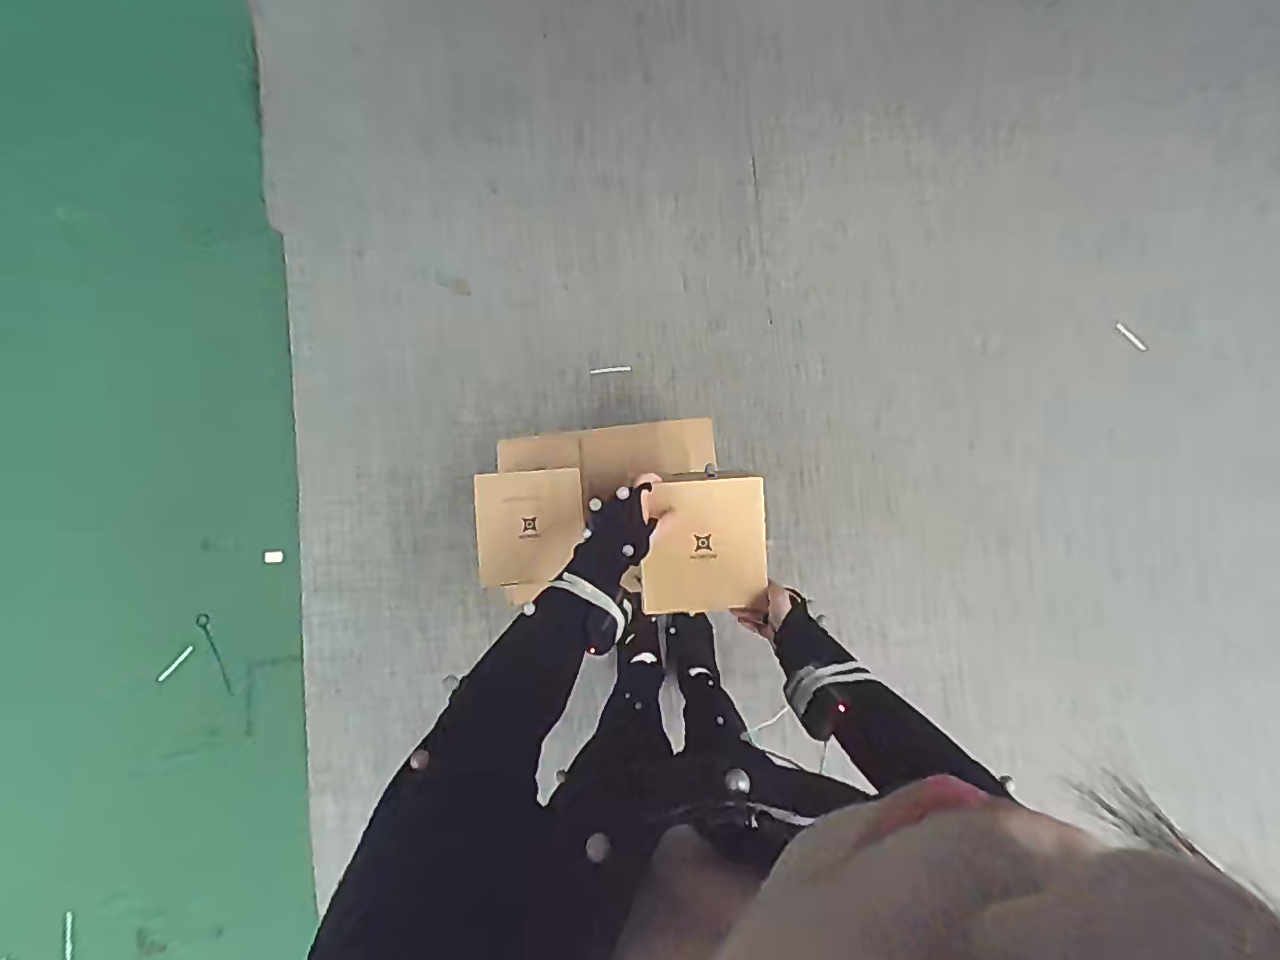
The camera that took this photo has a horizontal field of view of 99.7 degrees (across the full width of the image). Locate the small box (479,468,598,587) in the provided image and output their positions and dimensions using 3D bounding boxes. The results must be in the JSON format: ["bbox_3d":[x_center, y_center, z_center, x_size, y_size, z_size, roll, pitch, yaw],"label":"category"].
[{"bbox_3d":[-0.162,0.074,0.906,0.168,0.176,0.179,-4,87,-1],"label":"small box"}]

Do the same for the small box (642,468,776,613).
[{"bbox_3d":[0.089,0.075,0.769,0.168,0.176,0.179,-4,95,2],"label":"small box"}]
